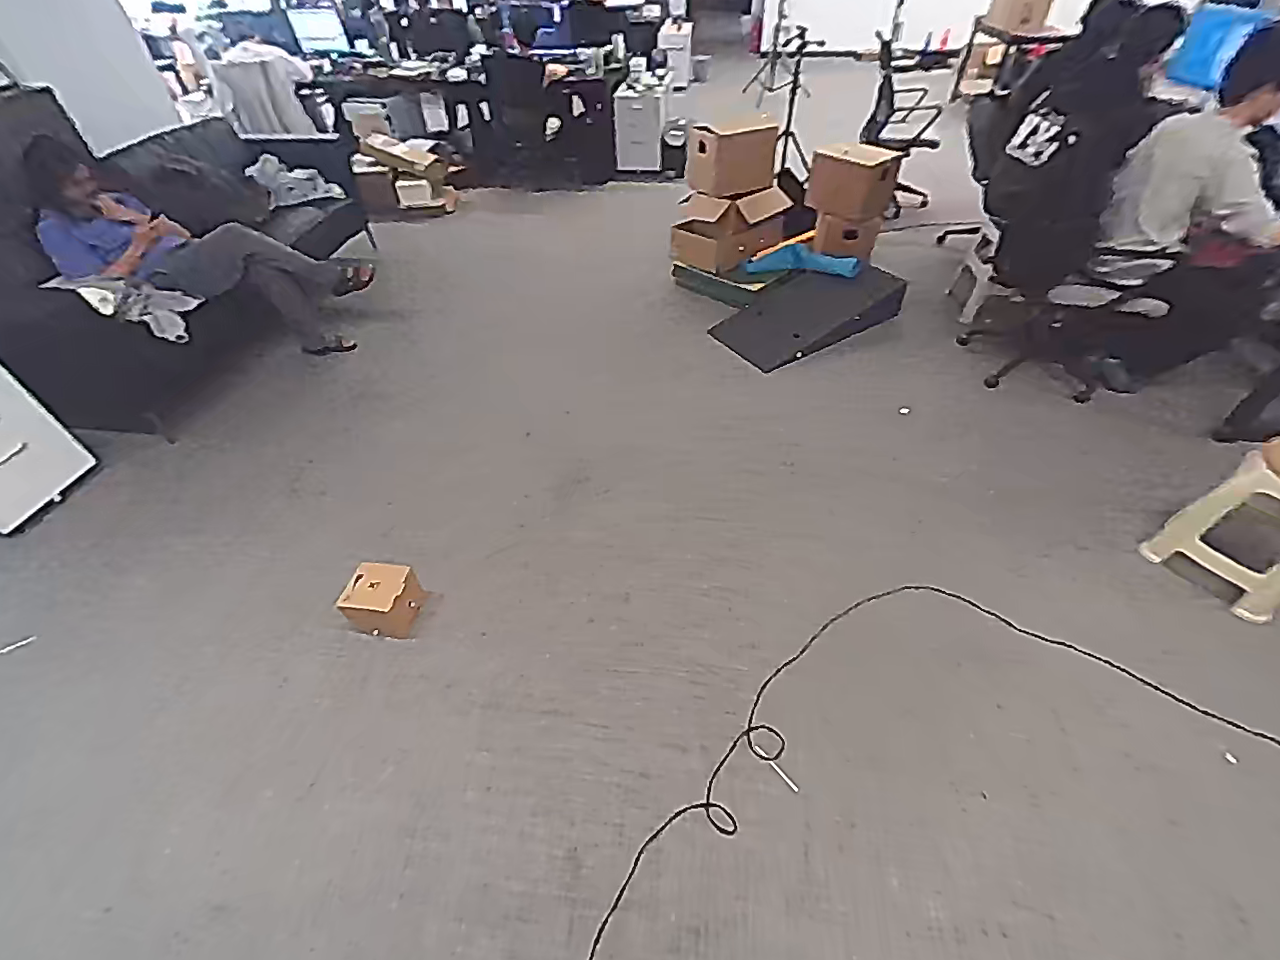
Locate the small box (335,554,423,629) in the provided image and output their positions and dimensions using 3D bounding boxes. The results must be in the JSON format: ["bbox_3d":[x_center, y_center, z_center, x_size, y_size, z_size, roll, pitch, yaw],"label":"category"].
[{"bbox_3d":[-0.829,0.363,1.740,0.179,0.176,0.168,6,46,7],"label":"small box"}]
